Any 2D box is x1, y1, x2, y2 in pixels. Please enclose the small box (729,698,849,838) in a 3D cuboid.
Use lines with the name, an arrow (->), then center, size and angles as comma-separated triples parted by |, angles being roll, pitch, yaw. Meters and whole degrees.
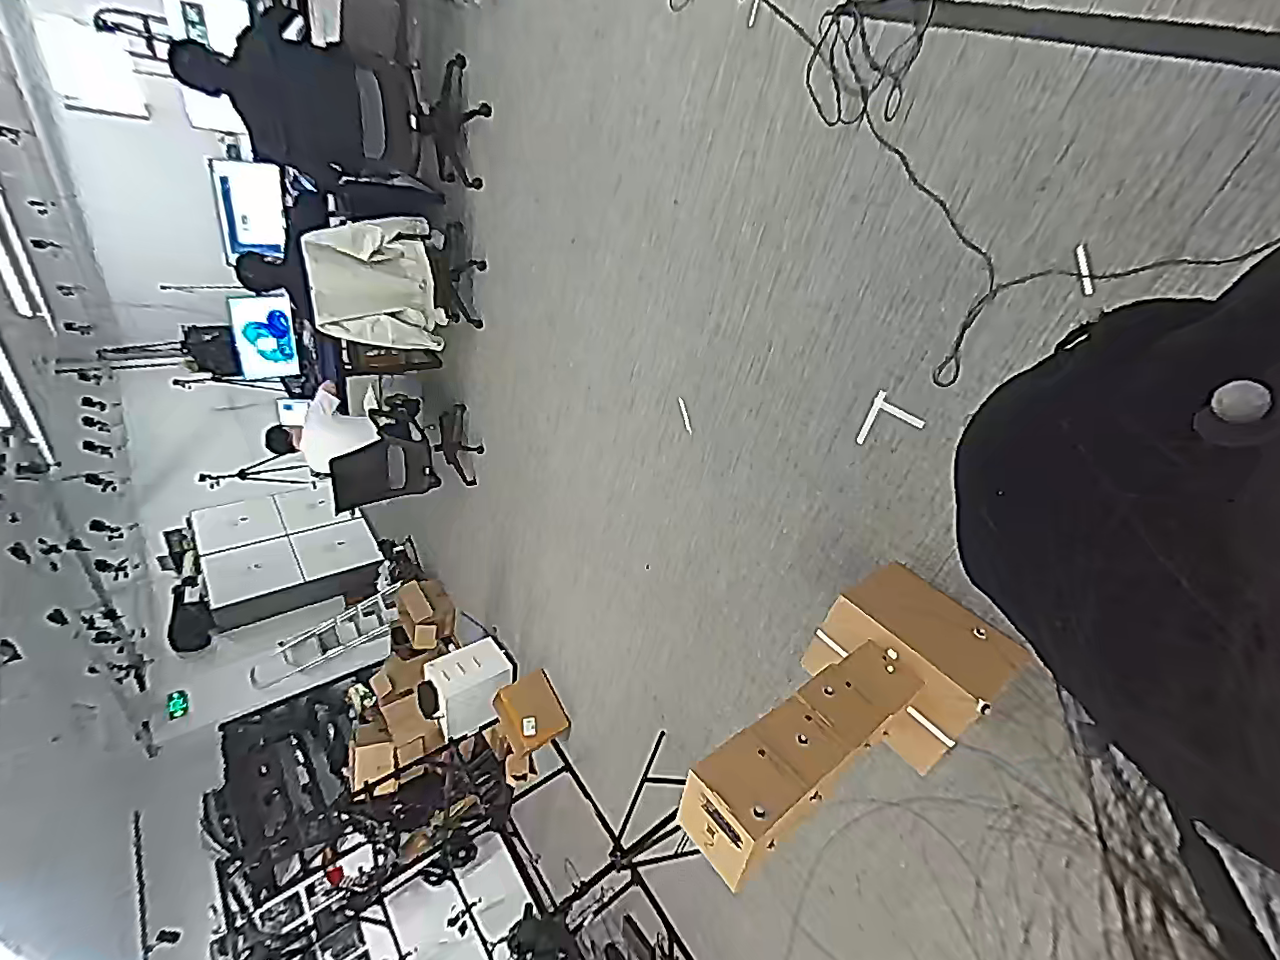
small box -> 0.325, 0.612, 1.172 | 0.168, 0.176, 0.179 | 36, 129, 41

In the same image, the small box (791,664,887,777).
small box -> 0.450, 0.571, 1.272 | 0.168, 0.176, 0.179 | 40, 132, 38

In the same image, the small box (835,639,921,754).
small box -> 0.576, 0.542, 1.370 | 0.168, 0.176, 0.179 | 40, 131, 36
